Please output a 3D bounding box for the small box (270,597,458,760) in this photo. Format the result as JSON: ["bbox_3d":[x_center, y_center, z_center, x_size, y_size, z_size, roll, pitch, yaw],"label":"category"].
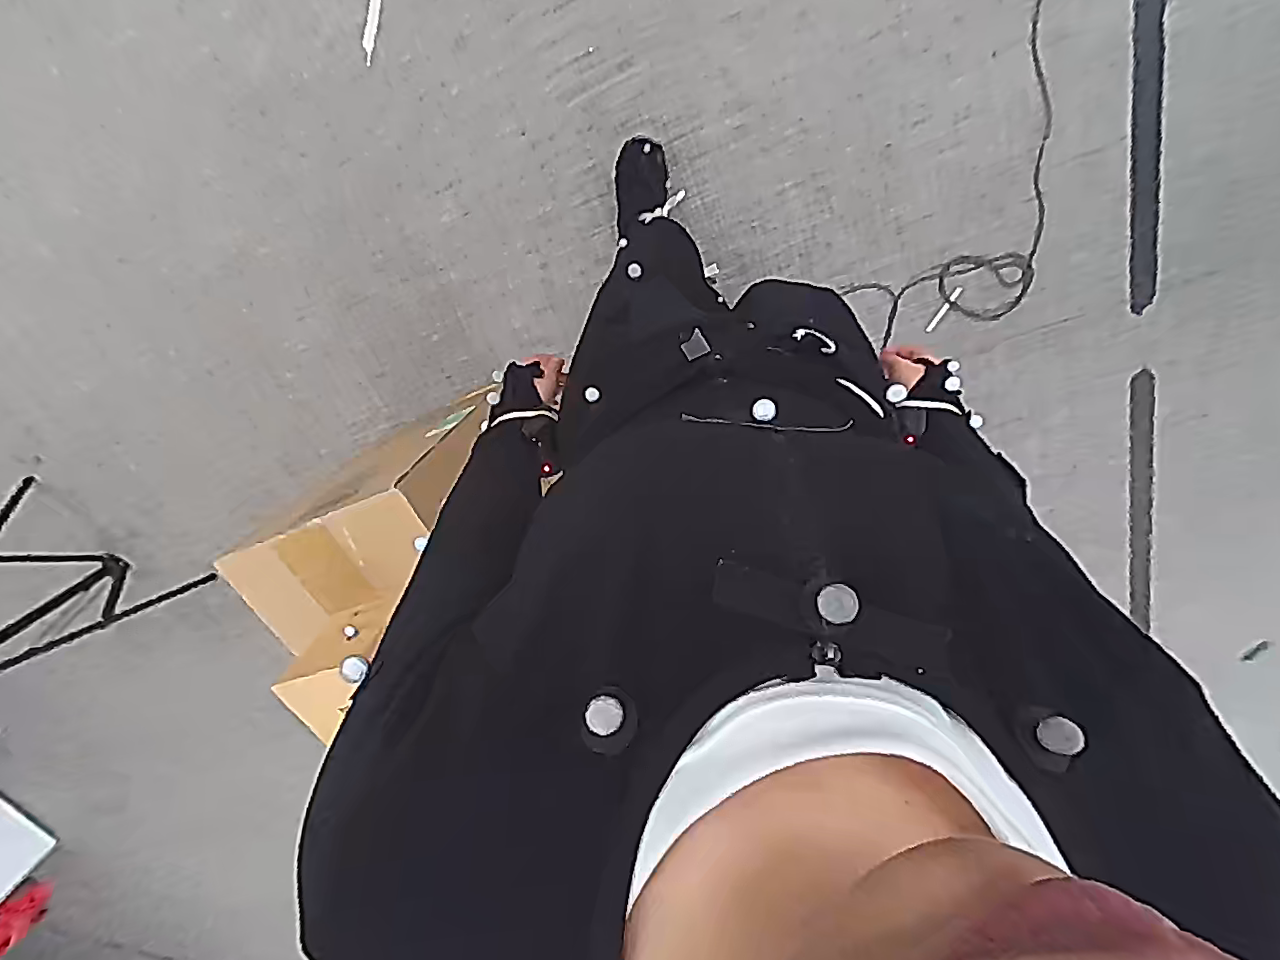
[{"bbox_3d":[-0.430,0.311,0.875,0.168,0.176,0.179,-19,115,14],"label":"small box"}]
